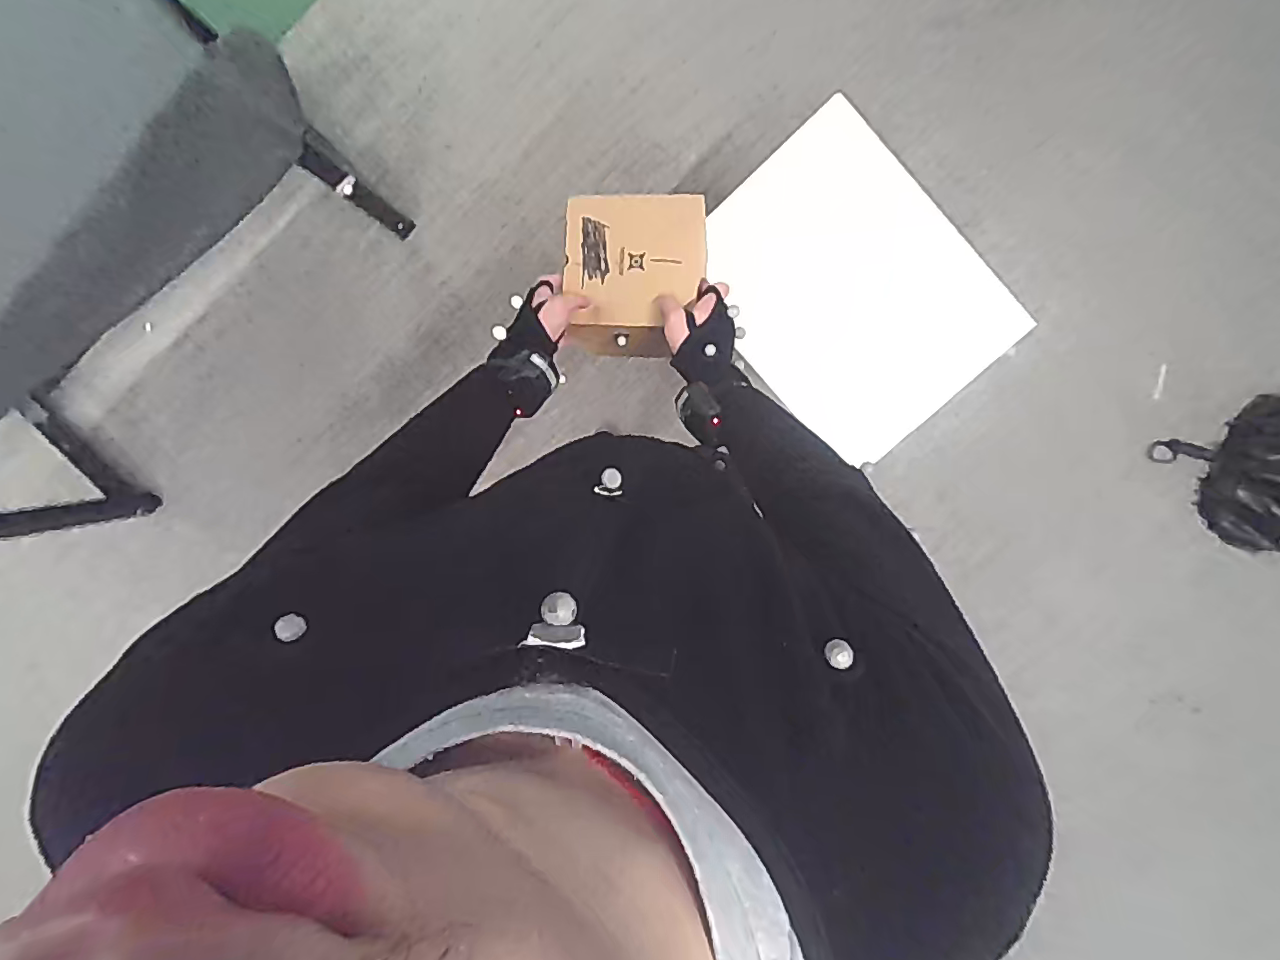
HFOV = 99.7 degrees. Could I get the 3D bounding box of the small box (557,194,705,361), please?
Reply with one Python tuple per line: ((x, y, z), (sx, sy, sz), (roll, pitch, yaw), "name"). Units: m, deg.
((-0.003, -0.261, 0.733), (0.179, 0.176, 0.168), (2, 89, 6), "small box")
